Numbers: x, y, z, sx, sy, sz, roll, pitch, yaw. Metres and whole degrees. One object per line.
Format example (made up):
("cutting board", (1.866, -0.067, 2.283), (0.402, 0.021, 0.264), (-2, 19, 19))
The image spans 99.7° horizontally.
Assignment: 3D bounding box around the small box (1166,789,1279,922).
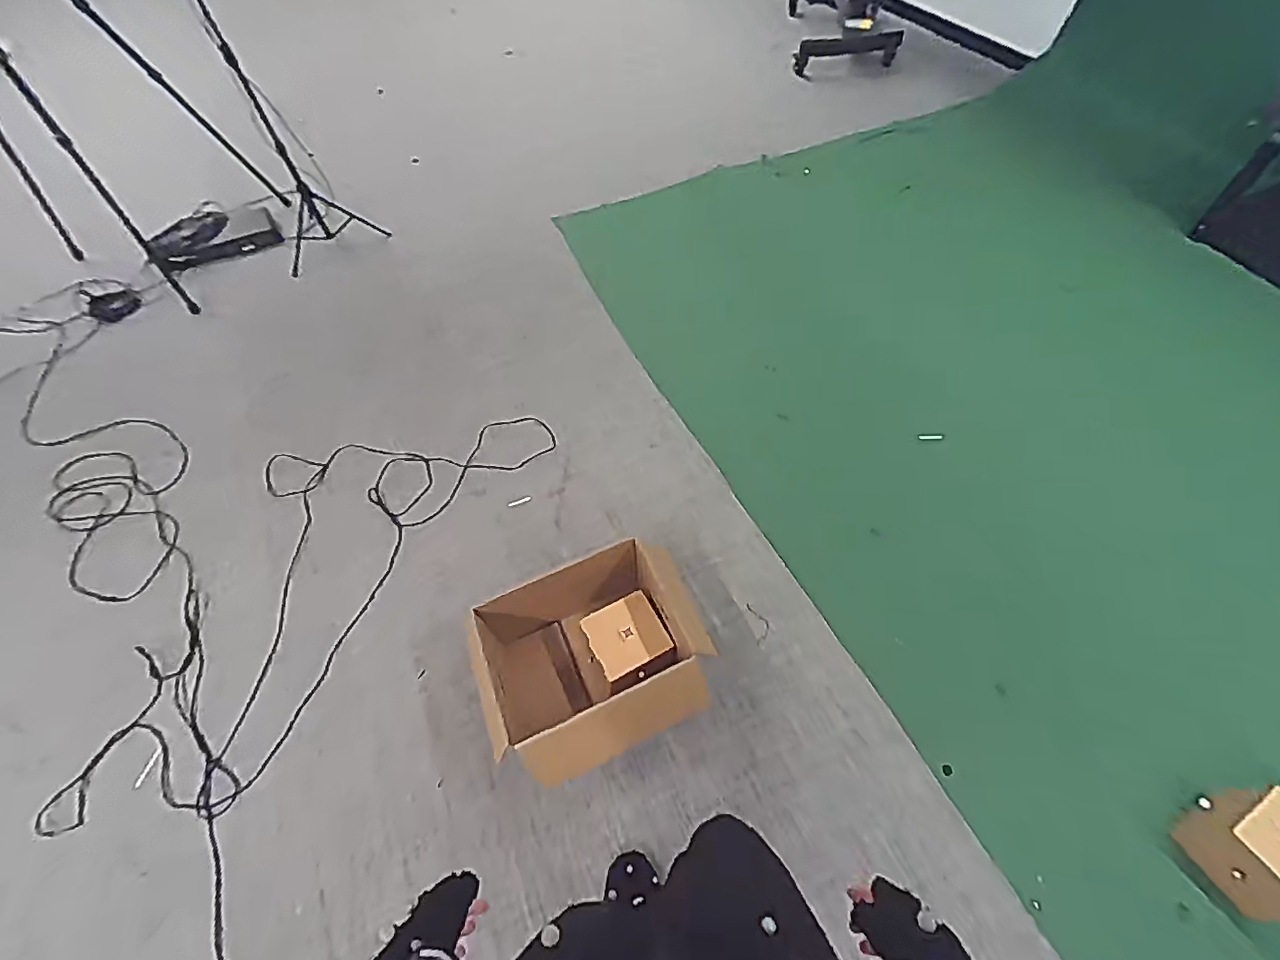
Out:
("small box", (1.267, 0.766, 1.107), (0.168, 0.176, 0.179), (-26, 59, -15))
